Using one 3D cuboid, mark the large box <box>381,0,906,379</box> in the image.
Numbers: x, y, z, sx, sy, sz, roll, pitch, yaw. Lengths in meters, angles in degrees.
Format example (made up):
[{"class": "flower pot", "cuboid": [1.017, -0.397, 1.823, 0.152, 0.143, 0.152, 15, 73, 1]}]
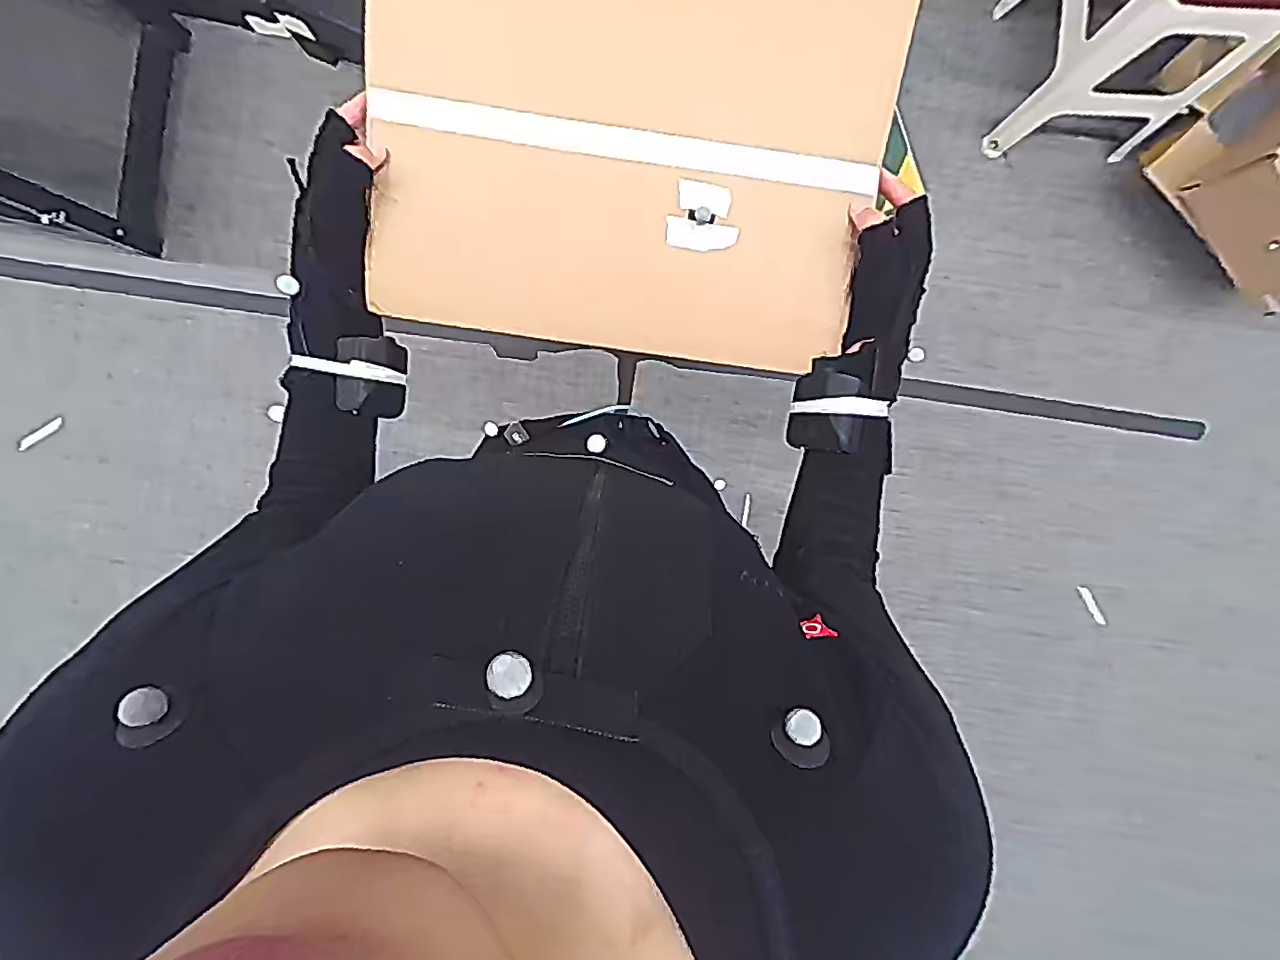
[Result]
[{"class": "large box", "cuboid": [-0.014, -0.296, 0.584, 0.408, 0.320, 0.320, 7, 105, -4]}]
